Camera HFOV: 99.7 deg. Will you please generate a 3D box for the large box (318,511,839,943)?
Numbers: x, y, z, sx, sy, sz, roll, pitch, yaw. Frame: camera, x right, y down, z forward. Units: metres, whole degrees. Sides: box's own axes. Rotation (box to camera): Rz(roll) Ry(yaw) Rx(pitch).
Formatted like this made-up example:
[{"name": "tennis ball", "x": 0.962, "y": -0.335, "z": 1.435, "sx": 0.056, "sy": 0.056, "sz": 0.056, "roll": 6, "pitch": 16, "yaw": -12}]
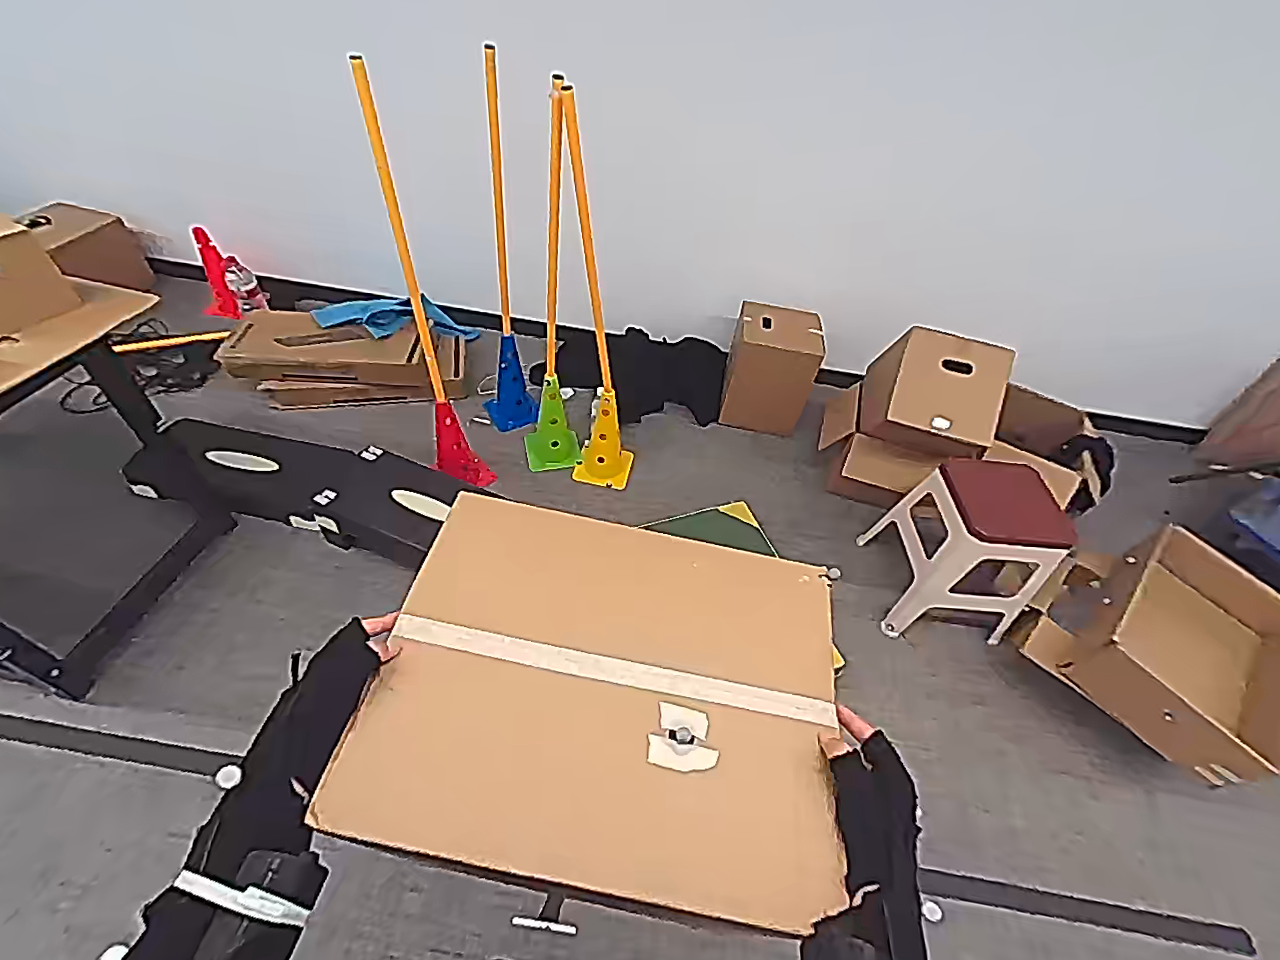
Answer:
[{"name": "large box", "x": -0.044, "y": 0.279, "z": 0.606, "sx": 0.408, "sy": 0.320, "sz": 0.320, "roll": 12, "pitch": 52, "yaw": 0}]
